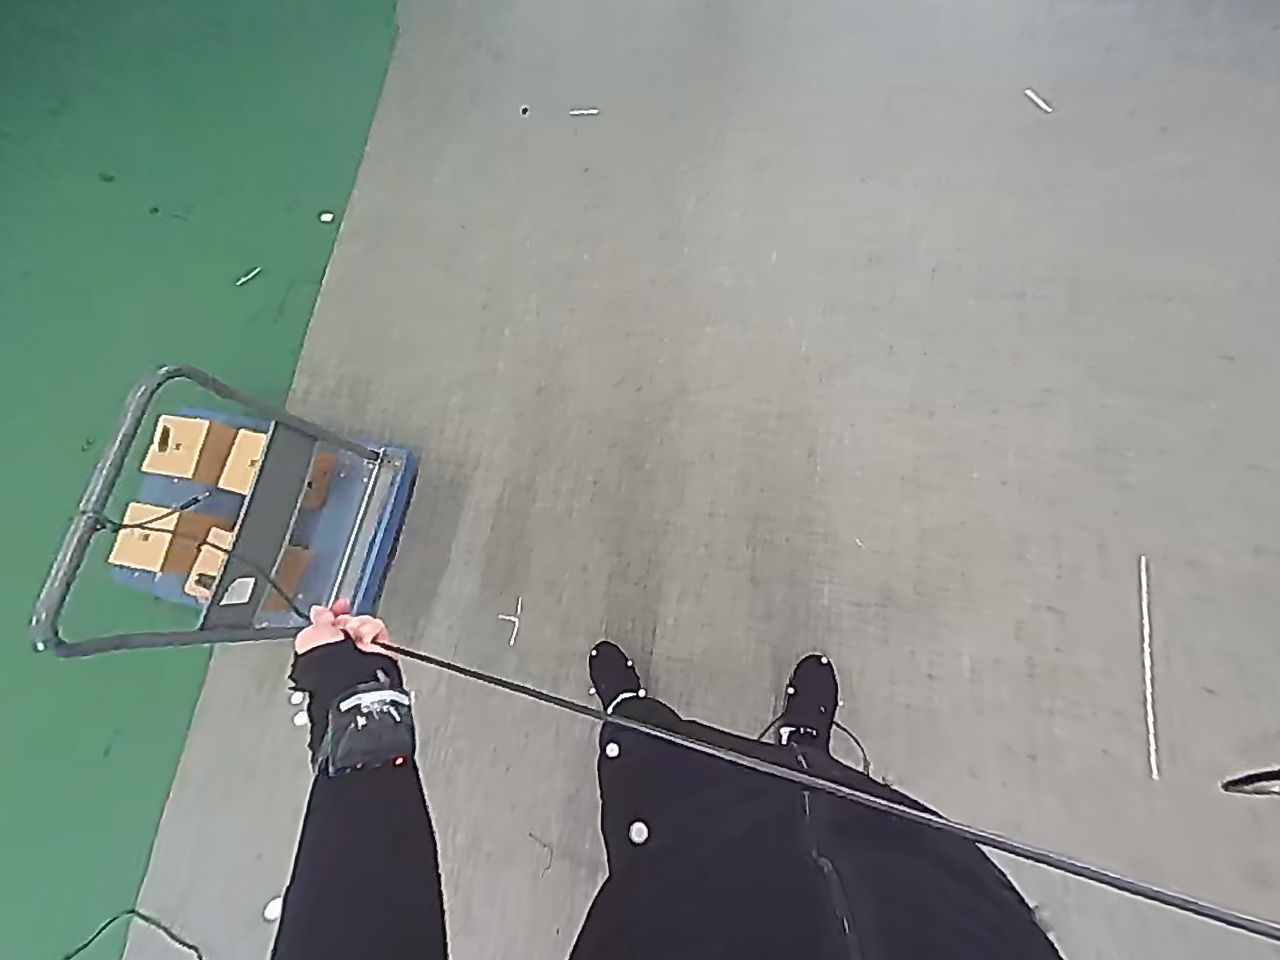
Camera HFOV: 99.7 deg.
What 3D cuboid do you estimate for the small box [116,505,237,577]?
[{"bbox_3d":[-1.289,0.177,1.517,0.179,0.176,0.168,7,78,13],"label":"small box"}]

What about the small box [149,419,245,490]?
[{"bbox_3d":[-1.247,-0.067,1.567,0.179,0.176,0.168,8,79,12],"label":"small box"}]

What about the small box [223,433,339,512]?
[{"bbox_3d":[-0.989,-0.015,1.504,0.179,0.176,0.168,12,79,13],"label":"small box"}]
